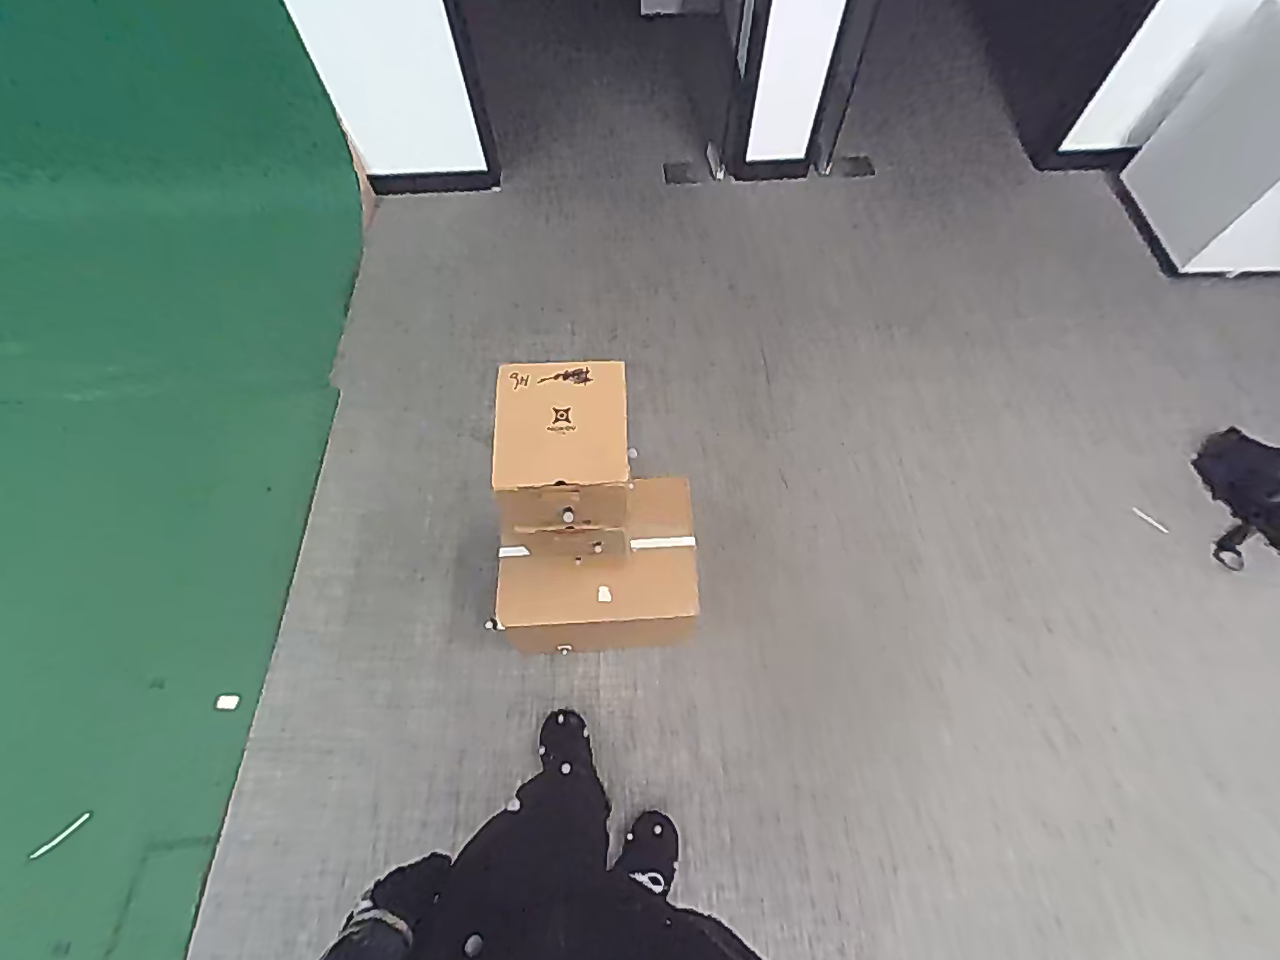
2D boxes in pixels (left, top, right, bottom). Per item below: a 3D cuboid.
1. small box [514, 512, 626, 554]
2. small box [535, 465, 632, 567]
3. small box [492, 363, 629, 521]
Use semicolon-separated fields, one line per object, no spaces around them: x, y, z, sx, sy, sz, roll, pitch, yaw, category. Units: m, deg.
-0.109;0.023;0.905;0.168;0.176;0.179;-2;68;-2;small box
-0.109;0.069;1.058;0.179;0.176;0.168;4;67;1;small box
-0.100;-0.043;0.756;0.168;0.176;0.179;-2;70;-2;small box
